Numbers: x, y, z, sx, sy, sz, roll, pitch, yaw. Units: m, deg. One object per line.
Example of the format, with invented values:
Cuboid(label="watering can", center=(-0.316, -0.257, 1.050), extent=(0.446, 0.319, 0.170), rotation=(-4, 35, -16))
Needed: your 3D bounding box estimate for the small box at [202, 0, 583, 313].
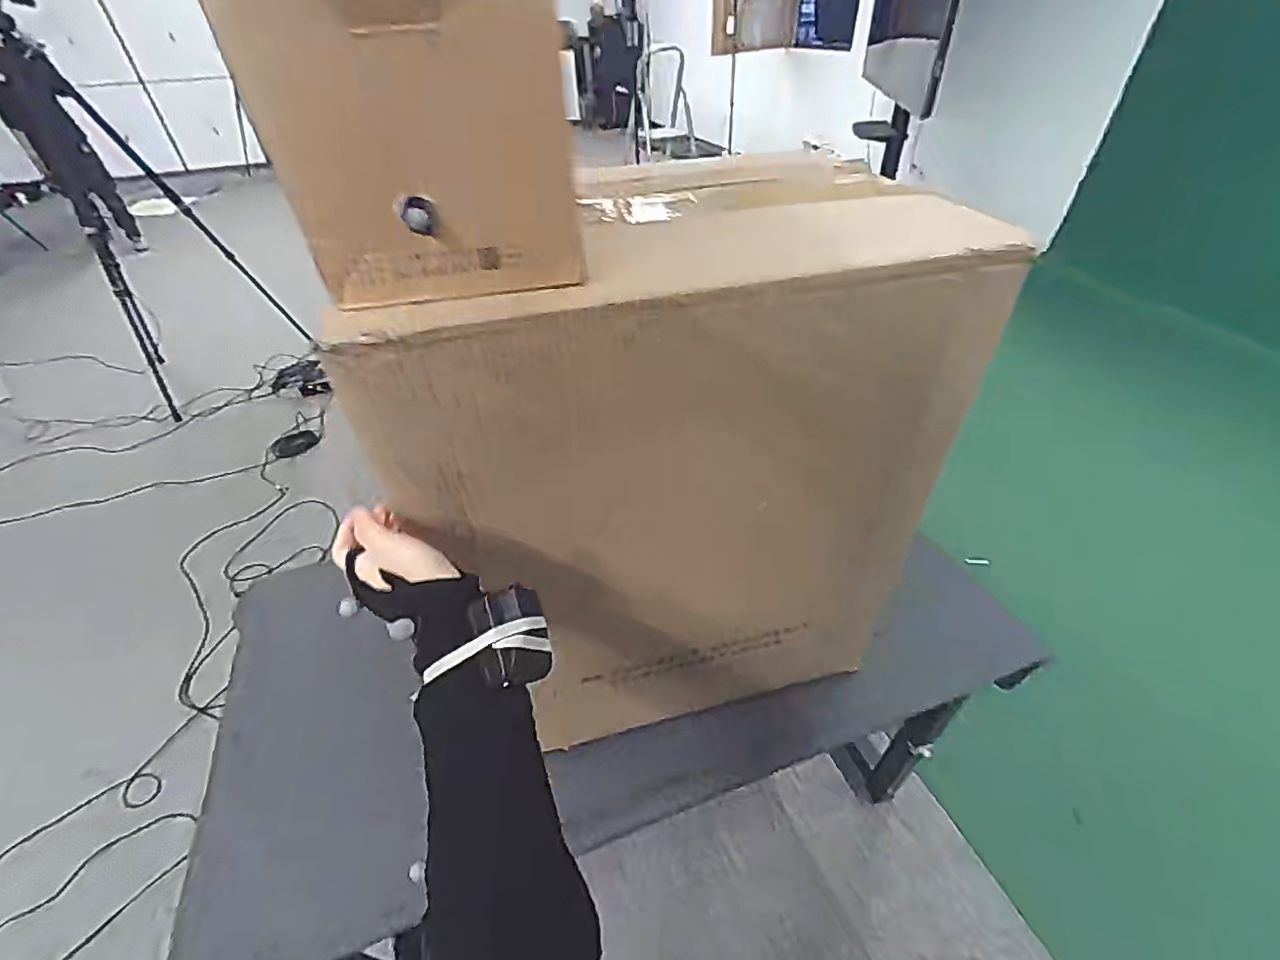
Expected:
Cuboid(label="small box", center=(-0.134, -0.231, 0.359), extent=(0.168, 0.176, 0.179), rotation=(-9, 46, -7))
